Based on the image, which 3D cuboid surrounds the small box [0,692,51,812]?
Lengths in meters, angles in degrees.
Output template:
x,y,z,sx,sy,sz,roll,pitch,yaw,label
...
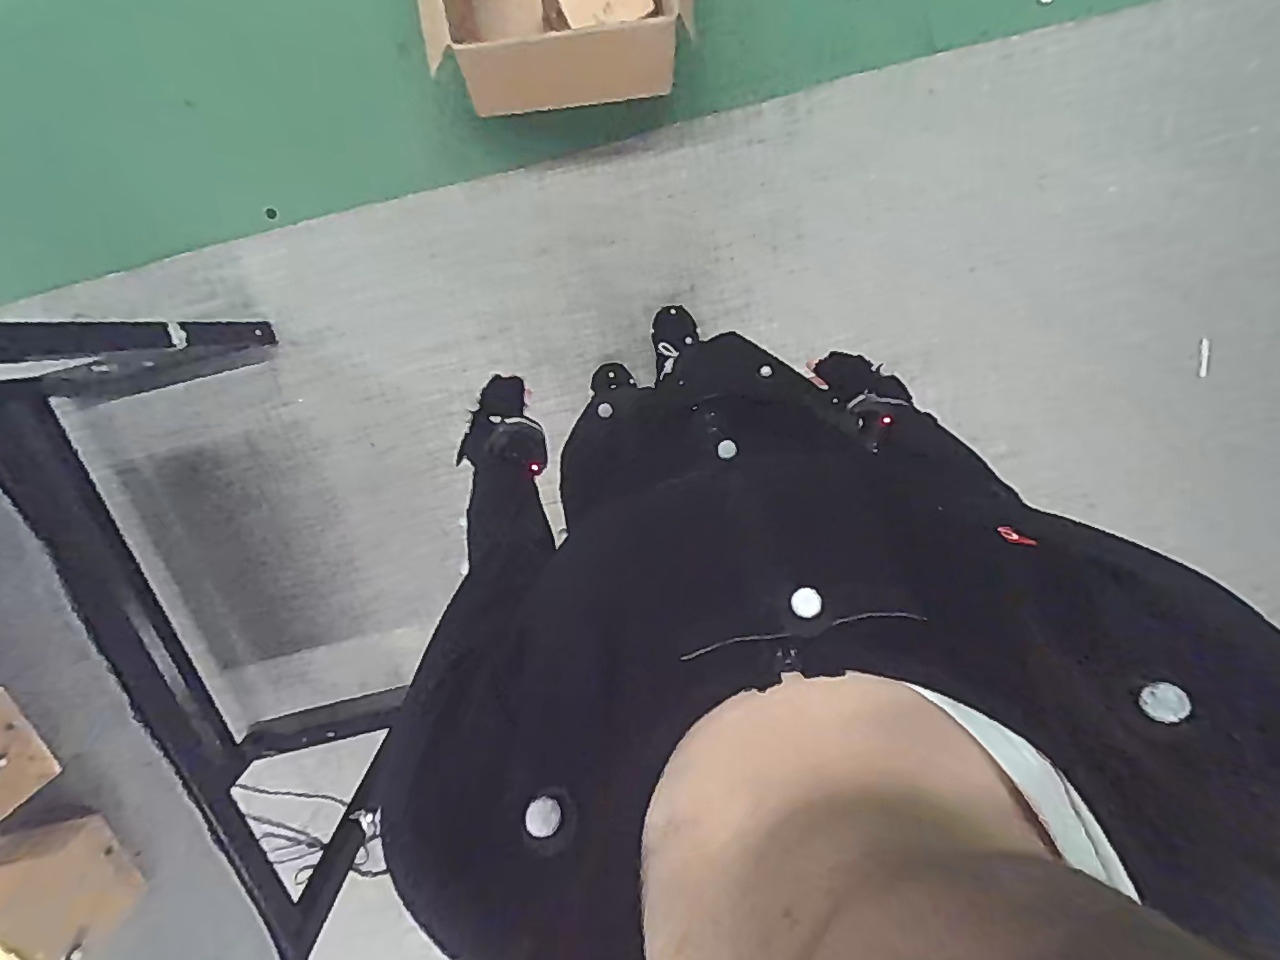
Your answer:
x,y,z,sx,sy,sz,roll,pitch,yaw,label
-0.988,0.414,0.727,0.179,0.176,0.168,-15,105,1,small box
